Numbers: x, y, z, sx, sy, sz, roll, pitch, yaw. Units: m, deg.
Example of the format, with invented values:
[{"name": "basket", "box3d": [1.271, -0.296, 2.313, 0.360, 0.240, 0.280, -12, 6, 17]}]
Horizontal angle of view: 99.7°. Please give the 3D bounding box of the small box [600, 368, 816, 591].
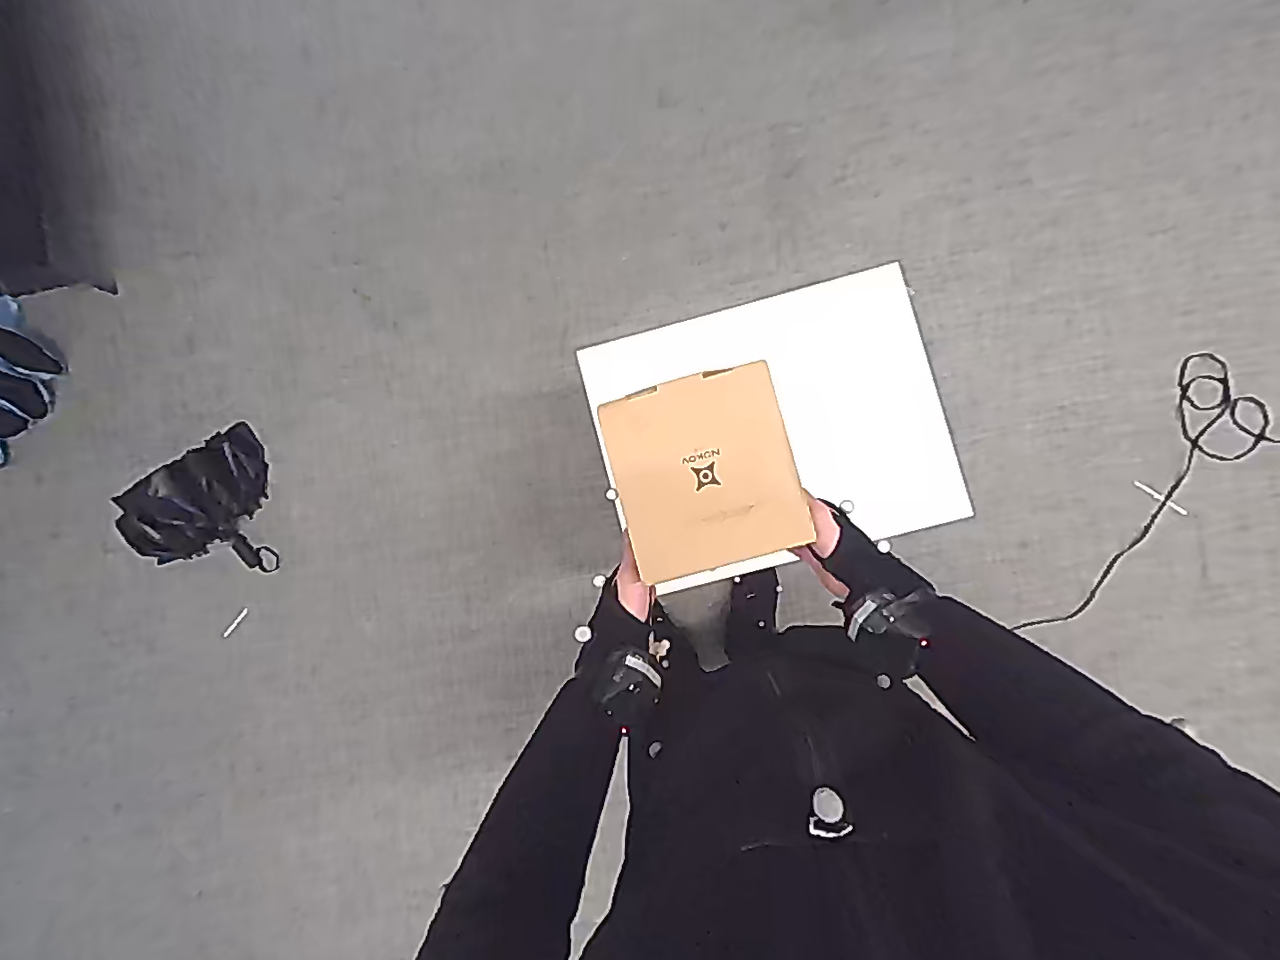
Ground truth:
[{"name": "small box", "box3d": [0.066, 0.003, 0.575, 0.168, 0.176, 0.179, -15, 87, 4]}]
